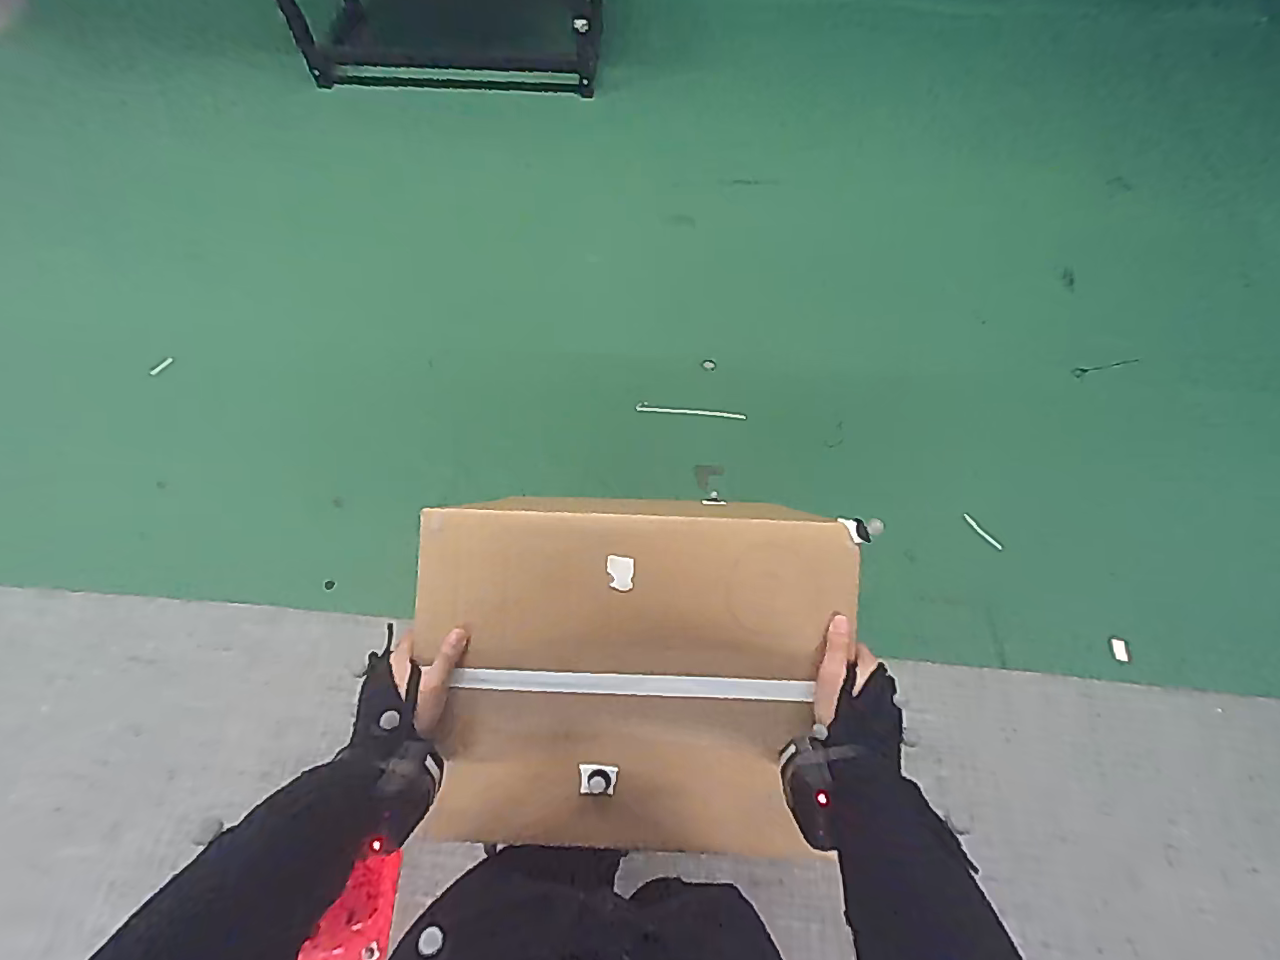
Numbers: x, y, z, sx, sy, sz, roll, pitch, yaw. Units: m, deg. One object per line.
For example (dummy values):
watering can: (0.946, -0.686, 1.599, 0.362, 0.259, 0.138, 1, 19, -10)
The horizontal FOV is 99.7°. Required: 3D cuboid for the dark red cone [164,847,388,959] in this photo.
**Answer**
dark red cone: (-0.584, 0.718, 0.857, 0.202, 0.394, 0.201, -2, 59, 0)
